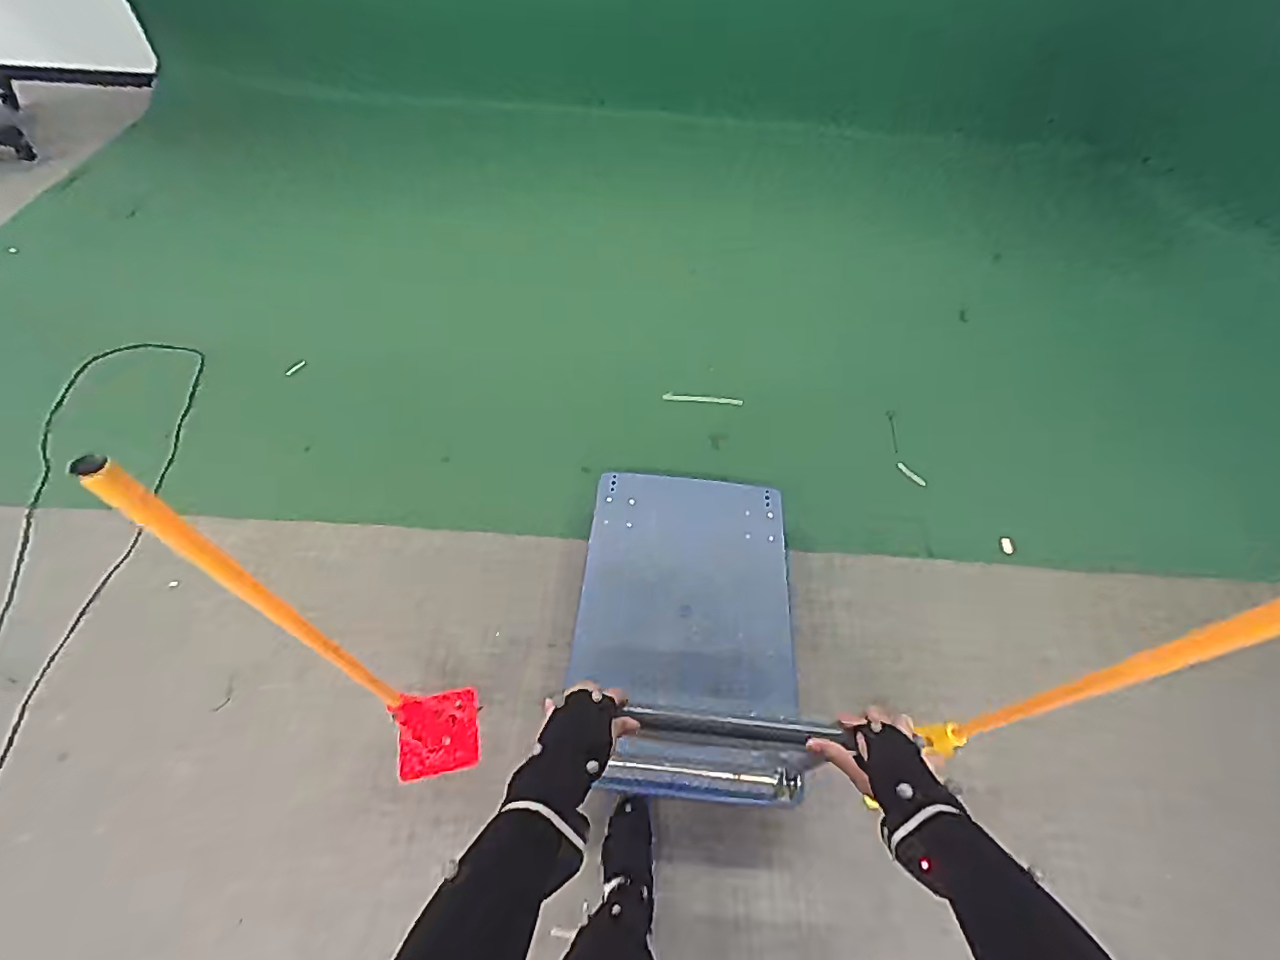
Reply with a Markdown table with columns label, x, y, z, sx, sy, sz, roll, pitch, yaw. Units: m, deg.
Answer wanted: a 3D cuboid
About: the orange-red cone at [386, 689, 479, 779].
| label | x | y | z | sx | sy | sz | roll | pitch | yaw |
| --- | --- | --- | --- | --- | --- | --- | --- | --- | --- |
| orange-red cone | -0.521 | 0.563 | 1.276 | 0.199 | 0.360 | 0.198 | -9 | 56 | -7 |
